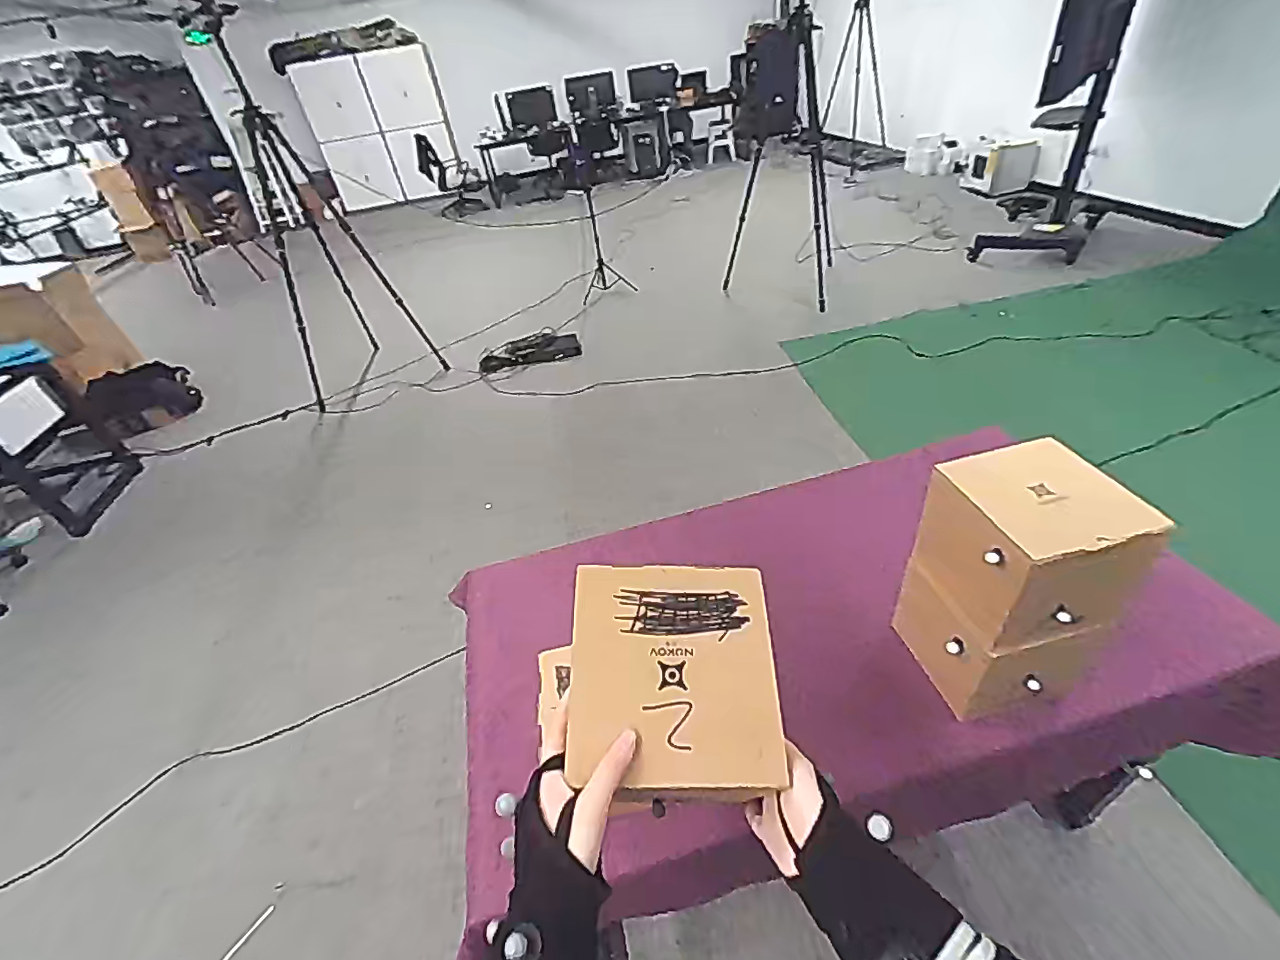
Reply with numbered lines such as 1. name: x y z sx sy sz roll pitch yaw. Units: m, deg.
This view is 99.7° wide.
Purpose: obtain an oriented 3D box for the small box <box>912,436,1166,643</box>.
1. small box: 0.477 0.073 0.686 0.168 0.176 0.179 -14 40 -4

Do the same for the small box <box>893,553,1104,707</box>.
1. small box: 0.497 0.204 0.783 0.168 0.176 0.179 -14 39 -5

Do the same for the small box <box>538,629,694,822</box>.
1. small box: -0.032 0.337 0.740 0.179 0.176 0.168 -12 39 -3
